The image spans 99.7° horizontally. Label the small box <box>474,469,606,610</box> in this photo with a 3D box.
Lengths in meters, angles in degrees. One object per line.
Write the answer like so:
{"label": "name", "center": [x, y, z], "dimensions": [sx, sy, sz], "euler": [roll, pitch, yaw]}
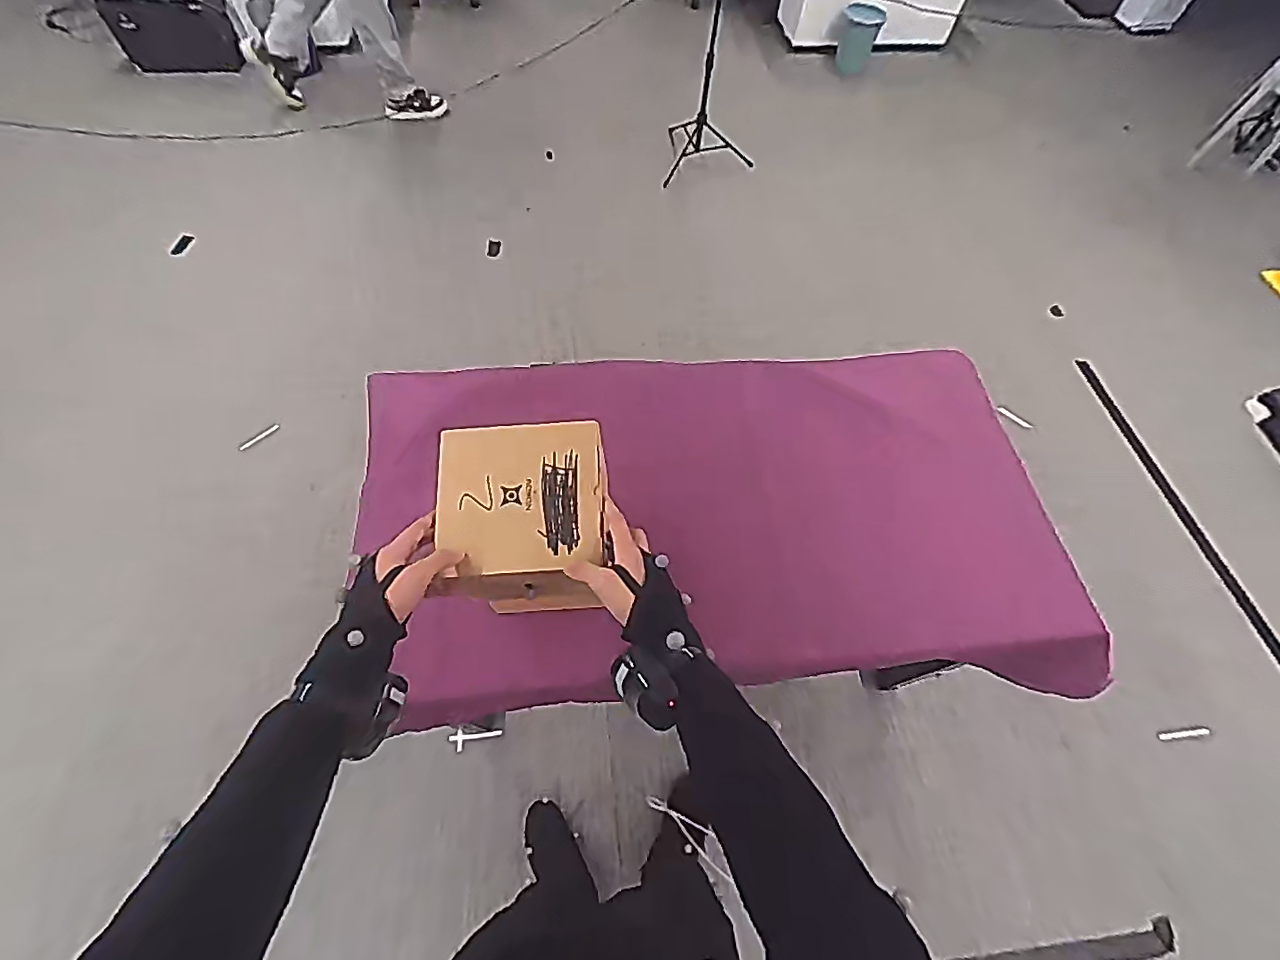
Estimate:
{"label": "small box", "center": [-0.143, 0.095, 0.827], "dimensions": [0.179, 0.176, 0.168], "euler": [-2, 60, -5]}
